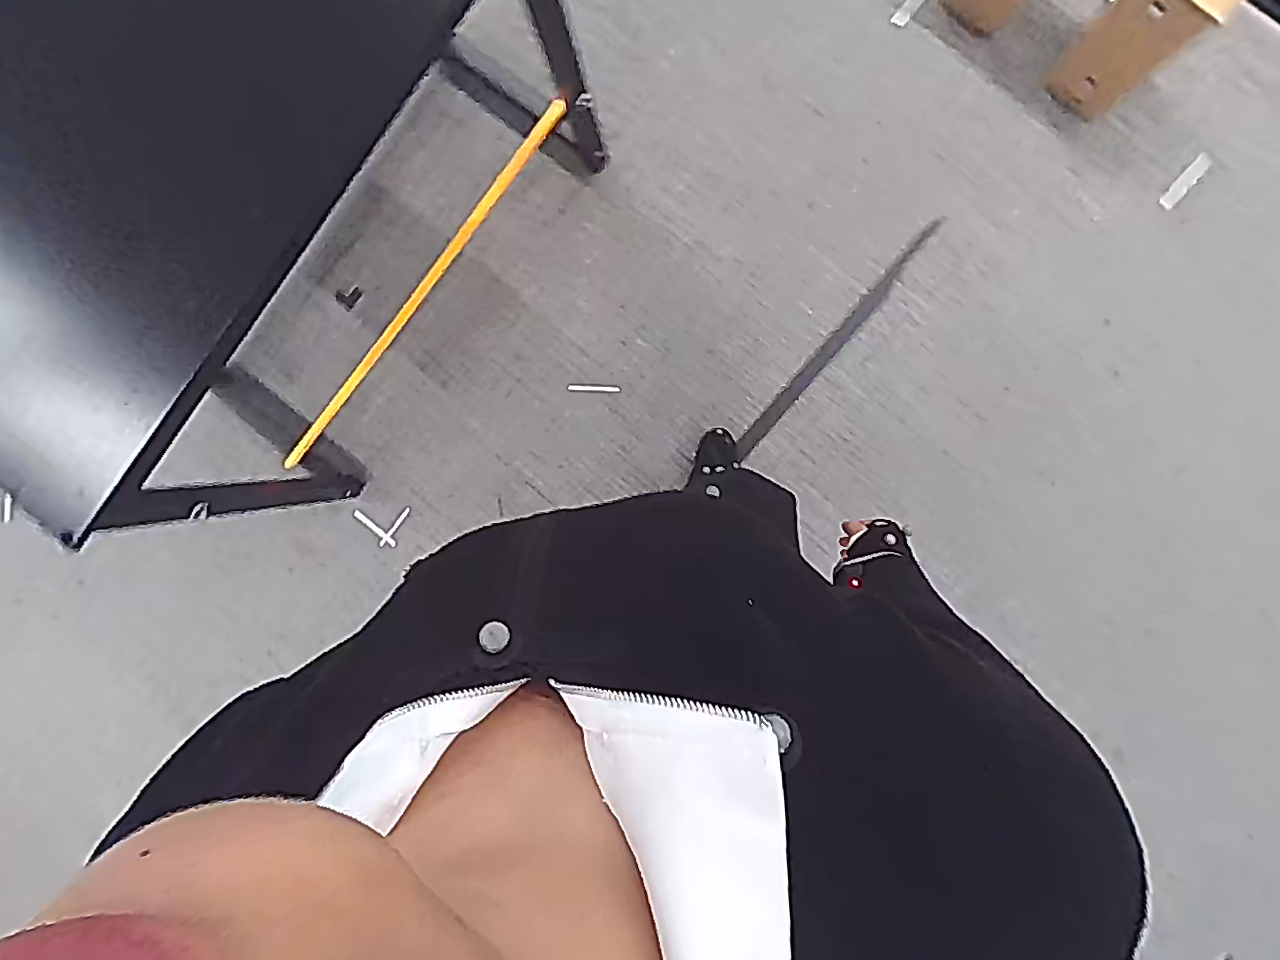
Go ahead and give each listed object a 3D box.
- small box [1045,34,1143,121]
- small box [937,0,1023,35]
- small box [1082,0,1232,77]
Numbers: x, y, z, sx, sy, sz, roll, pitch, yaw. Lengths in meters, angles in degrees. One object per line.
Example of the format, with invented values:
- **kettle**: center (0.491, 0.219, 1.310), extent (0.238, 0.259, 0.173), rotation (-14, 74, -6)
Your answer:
- **small box**: center (1.098, -0.992, 1.256), extent (0.168, 0.176, 0.179), rotation (41, 97, 2)
- **small box**: center (0.848, -1.204, 1.265), extent (0.179, 0.176, 0.168), rotation (38, 95, 3)
- **small box**: center (1.065, -0.976, 1.093), extent (0.179, 0.176, 0.168), rotation (39, 96, 1)
